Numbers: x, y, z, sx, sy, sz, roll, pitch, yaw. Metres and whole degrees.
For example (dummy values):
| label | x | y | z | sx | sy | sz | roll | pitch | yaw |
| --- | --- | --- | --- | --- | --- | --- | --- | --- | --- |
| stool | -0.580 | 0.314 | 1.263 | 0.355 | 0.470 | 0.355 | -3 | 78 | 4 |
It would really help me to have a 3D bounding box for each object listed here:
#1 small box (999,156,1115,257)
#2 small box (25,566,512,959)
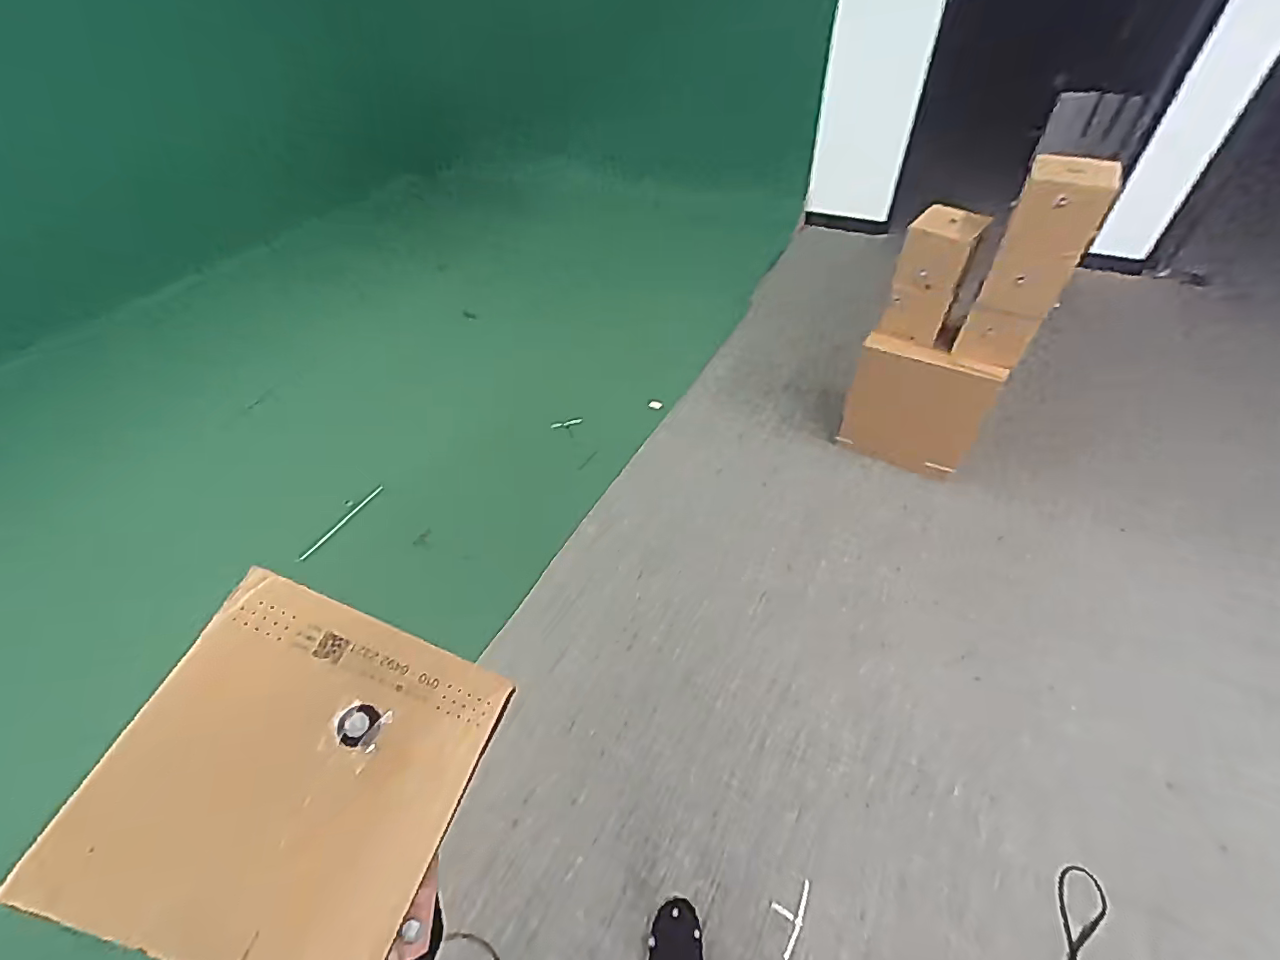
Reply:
| label | x | y | z | sx | sy | sz | roll | pitch | yaw |
| --- | --- | --- | --- | --- | --- | --- | --- | --- | --- |
| small box | 1.021 | -0.673 | 1.335 | 0.179 | 0.176 | 0.168 | 21 | 55 | 21 |
| small box | -0.202 | 0.181 | 0.361 | 0.168 | 0.179 | 0.176 | 28 | 60 | -7 |
